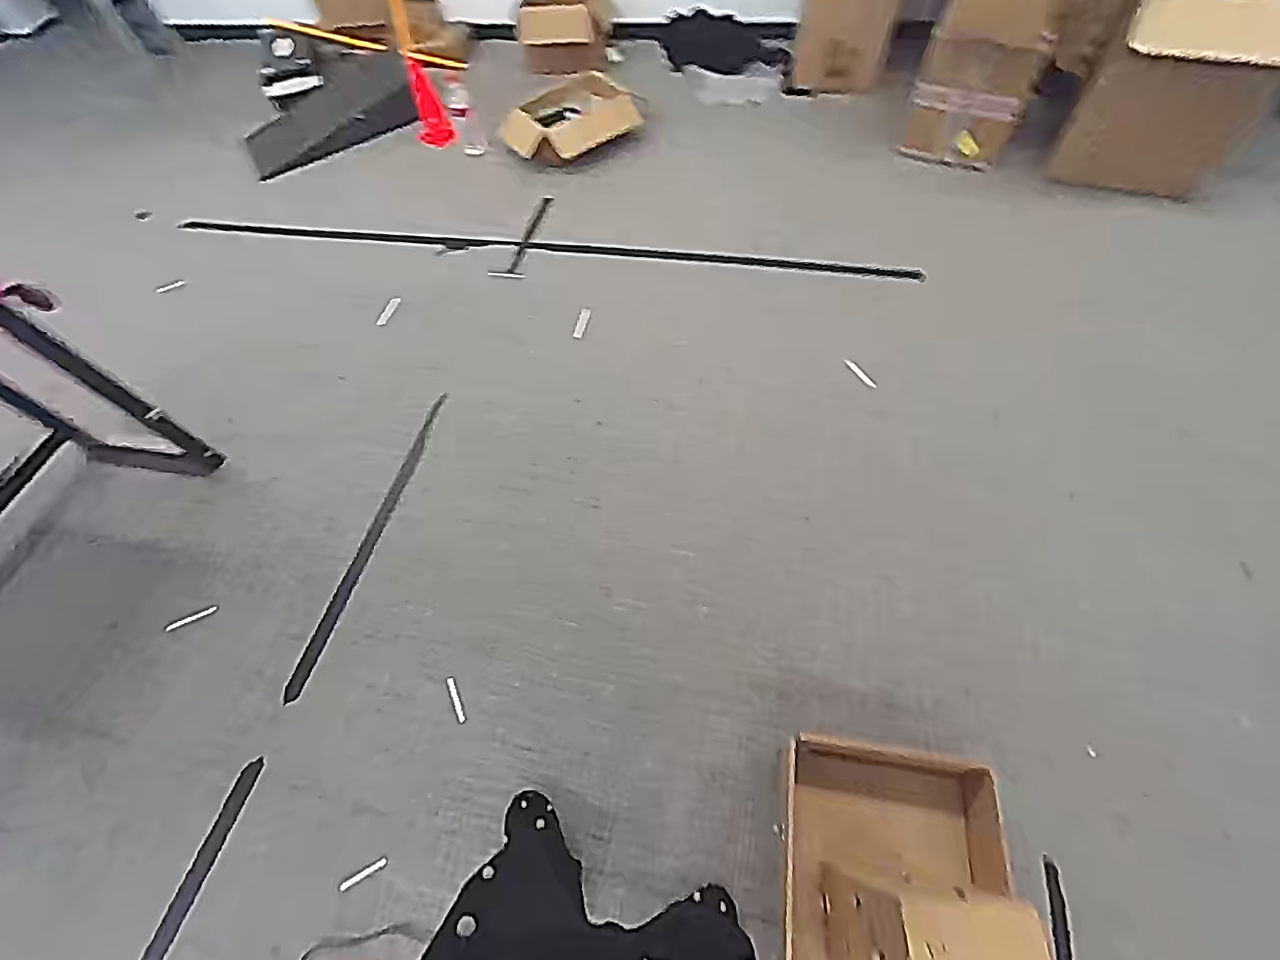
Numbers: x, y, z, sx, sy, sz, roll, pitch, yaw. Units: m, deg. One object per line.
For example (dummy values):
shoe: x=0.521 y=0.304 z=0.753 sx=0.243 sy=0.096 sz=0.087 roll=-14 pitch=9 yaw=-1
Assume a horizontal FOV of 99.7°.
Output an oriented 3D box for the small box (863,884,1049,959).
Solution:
small box: x=0.427 y=0.663 z=0.734 sx=0.179 sy=0.176 sz=0.168 roll=0 pitch=58 yaw=4

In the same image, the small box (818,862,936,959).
small box: x=0.448 y=0.832 z=1.017 sx=0.179 sy=0.176 sz=0.168 roll=1 pitch=59 yaw=6
